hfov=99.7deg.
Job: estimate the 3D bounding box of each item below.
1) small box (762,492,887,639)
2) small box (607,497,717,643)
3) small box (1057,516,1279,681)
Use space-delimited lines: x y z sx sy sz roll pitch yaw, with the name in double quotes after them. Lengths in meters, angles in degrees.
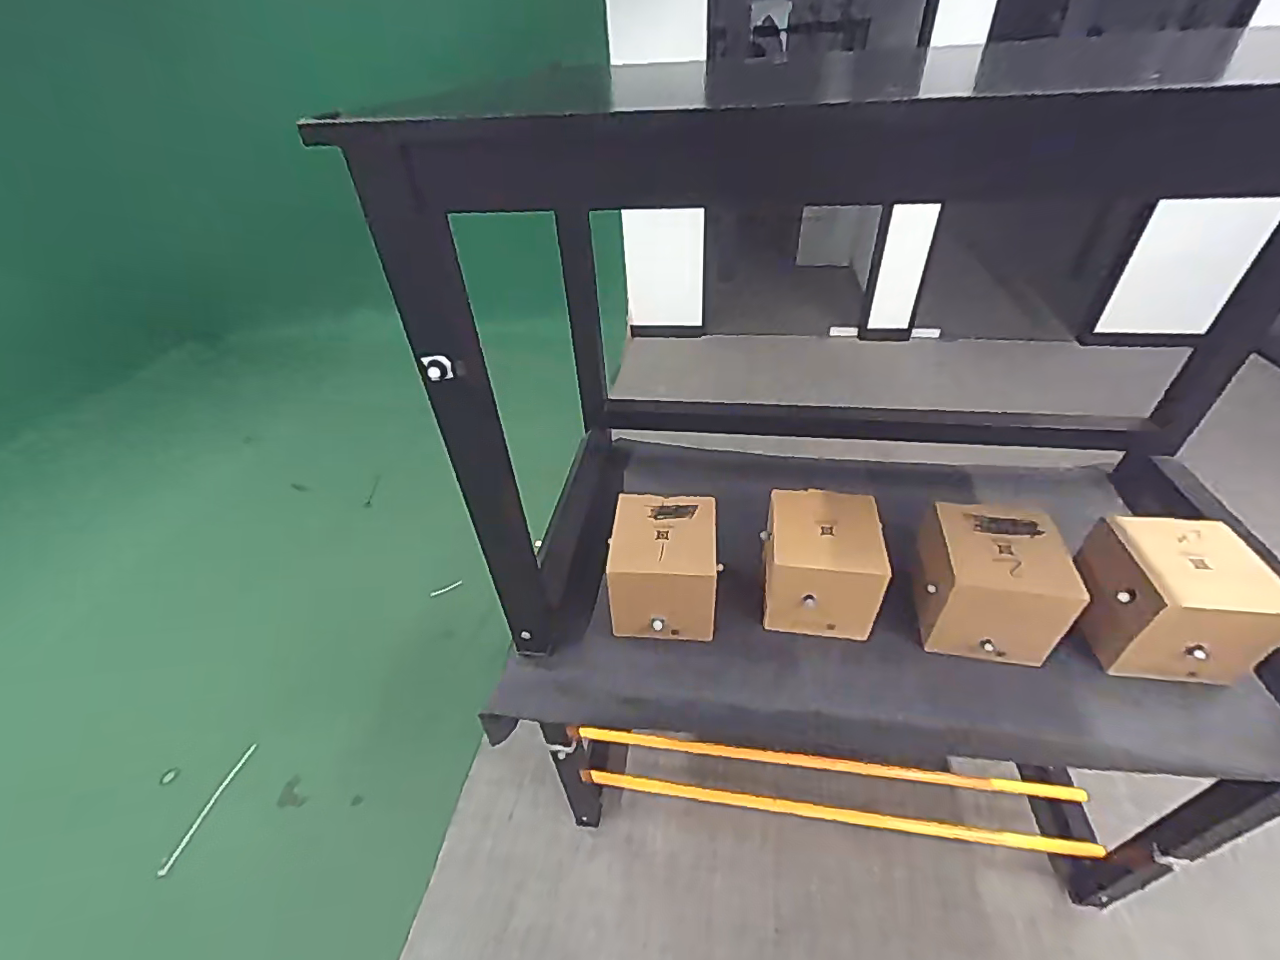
0.296 0.142 0.901 0.168 0.176 0.179 4 39 9 "small box"
0.042 0.149 0.911 0.168 0.176 0.179 1 40 6 "small box"
0.779 0.176 0.809 0.168 0.176 0.179 3 39 8 "small box"
